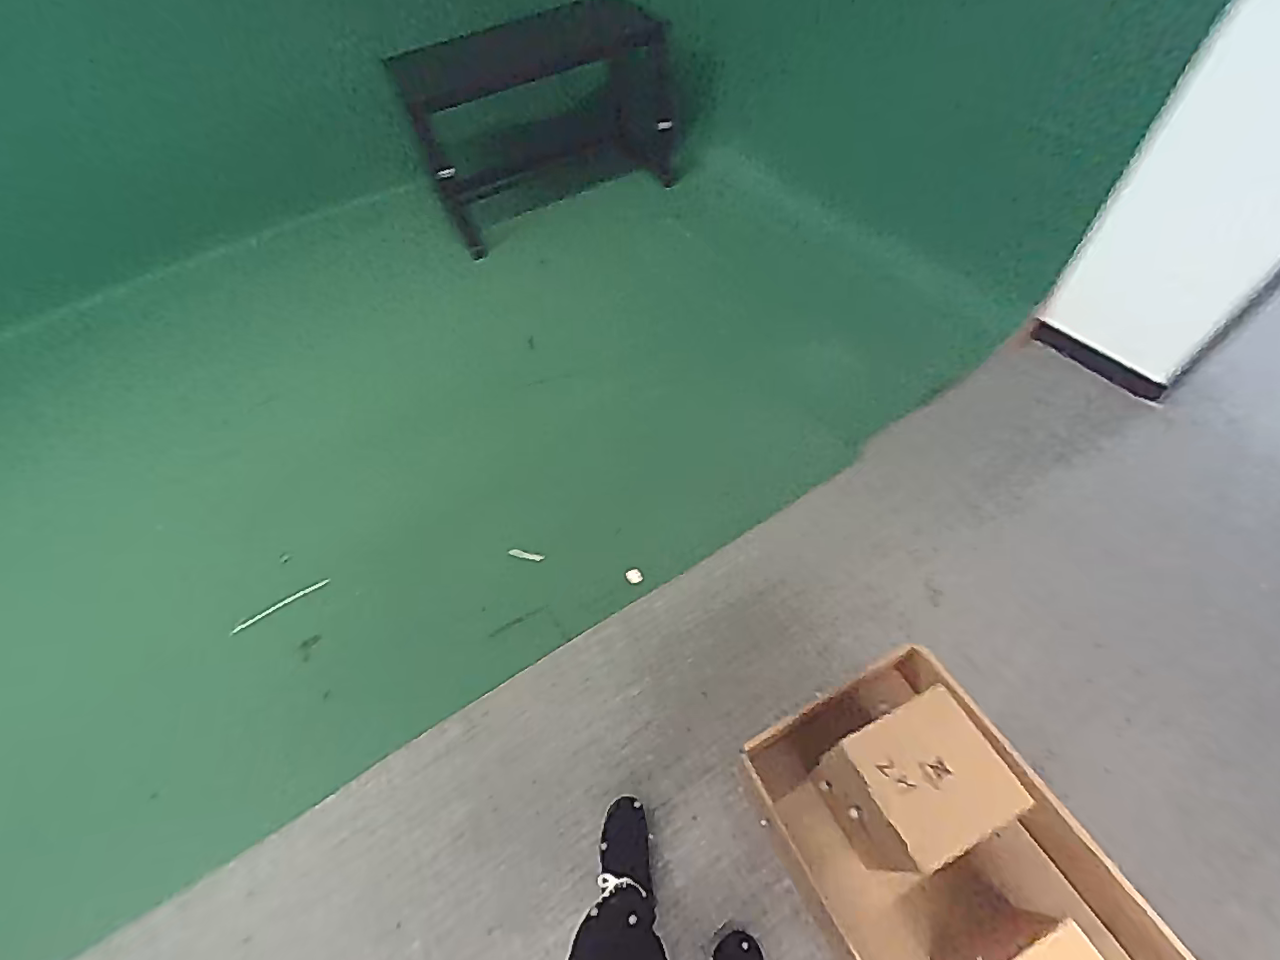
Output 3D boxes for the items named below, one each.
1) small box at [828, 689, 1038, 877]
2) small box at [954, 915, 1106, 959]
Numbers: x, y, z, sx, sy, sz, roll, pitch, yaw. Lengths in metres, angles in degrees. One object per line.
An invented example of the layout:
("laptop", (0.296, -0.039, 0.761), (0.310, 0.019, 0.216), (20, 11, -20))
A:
("small box", (0.396, 0.429, 0.769), (0.179, 0.176, 0.168), (-24, 55, -8))
("small box", (0.560, 0.736, 0.738), (0.179, 0.176, 0.168), (-26, 57, -9))
